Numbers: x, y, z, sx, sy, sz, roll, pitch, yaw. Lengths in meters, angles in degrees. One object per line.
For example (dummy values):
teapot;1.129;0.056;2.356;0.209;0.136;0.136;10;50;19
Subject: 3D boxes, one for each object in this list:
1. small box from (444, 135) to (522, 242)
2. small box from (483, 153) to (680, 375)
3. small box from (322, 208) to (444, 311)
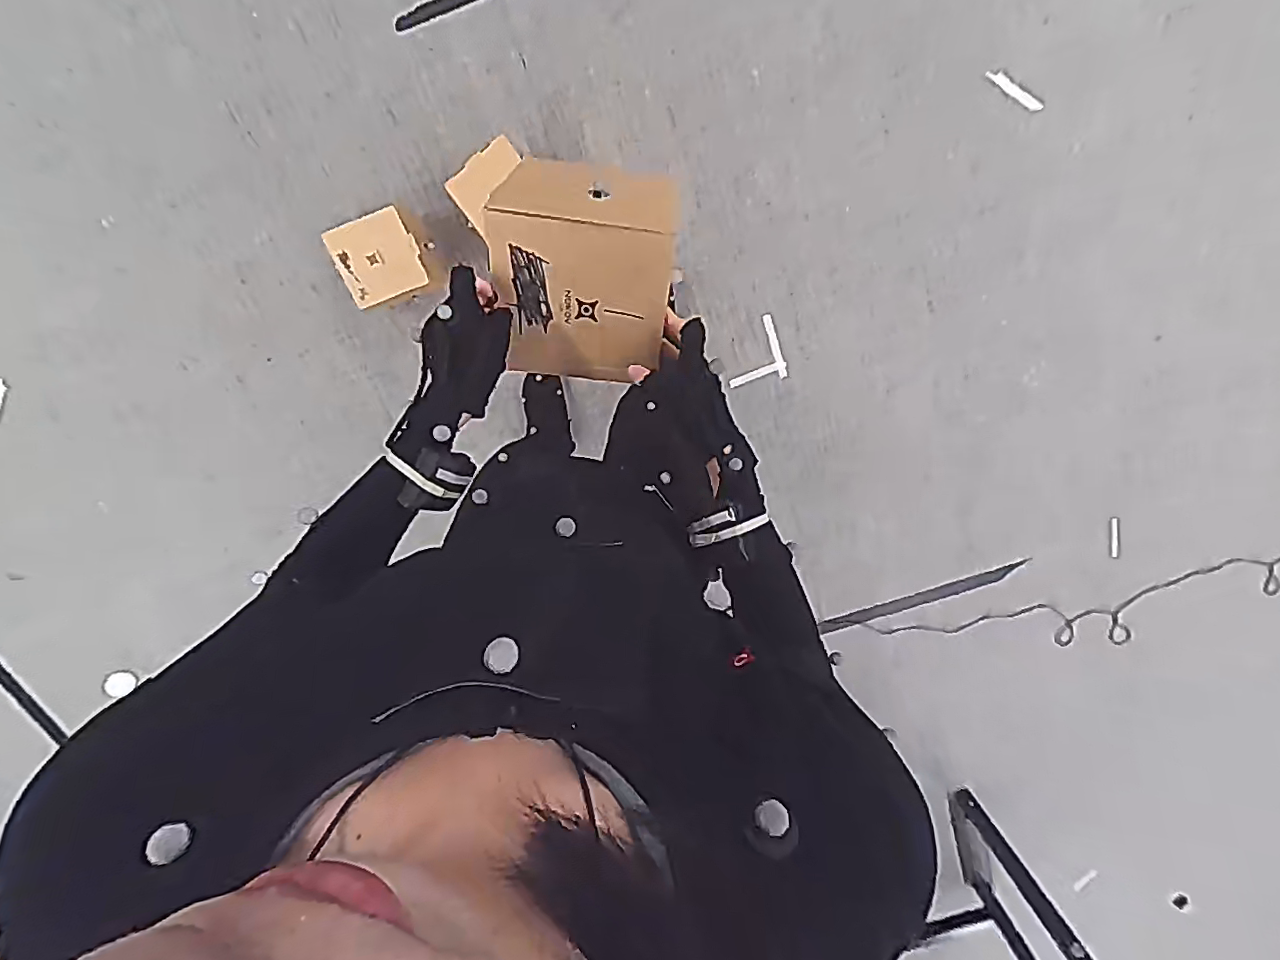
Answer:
small box;-0.299;-0.619;1.209;0.168;0.176;0.179;-36;108;9
small box;-0.056;-0.236;0.582;0.179;0.176;0.168;6;133;-3
small box;-0.569;-0.496;1.231;0.179;0.176;0.168;-20;109;3
